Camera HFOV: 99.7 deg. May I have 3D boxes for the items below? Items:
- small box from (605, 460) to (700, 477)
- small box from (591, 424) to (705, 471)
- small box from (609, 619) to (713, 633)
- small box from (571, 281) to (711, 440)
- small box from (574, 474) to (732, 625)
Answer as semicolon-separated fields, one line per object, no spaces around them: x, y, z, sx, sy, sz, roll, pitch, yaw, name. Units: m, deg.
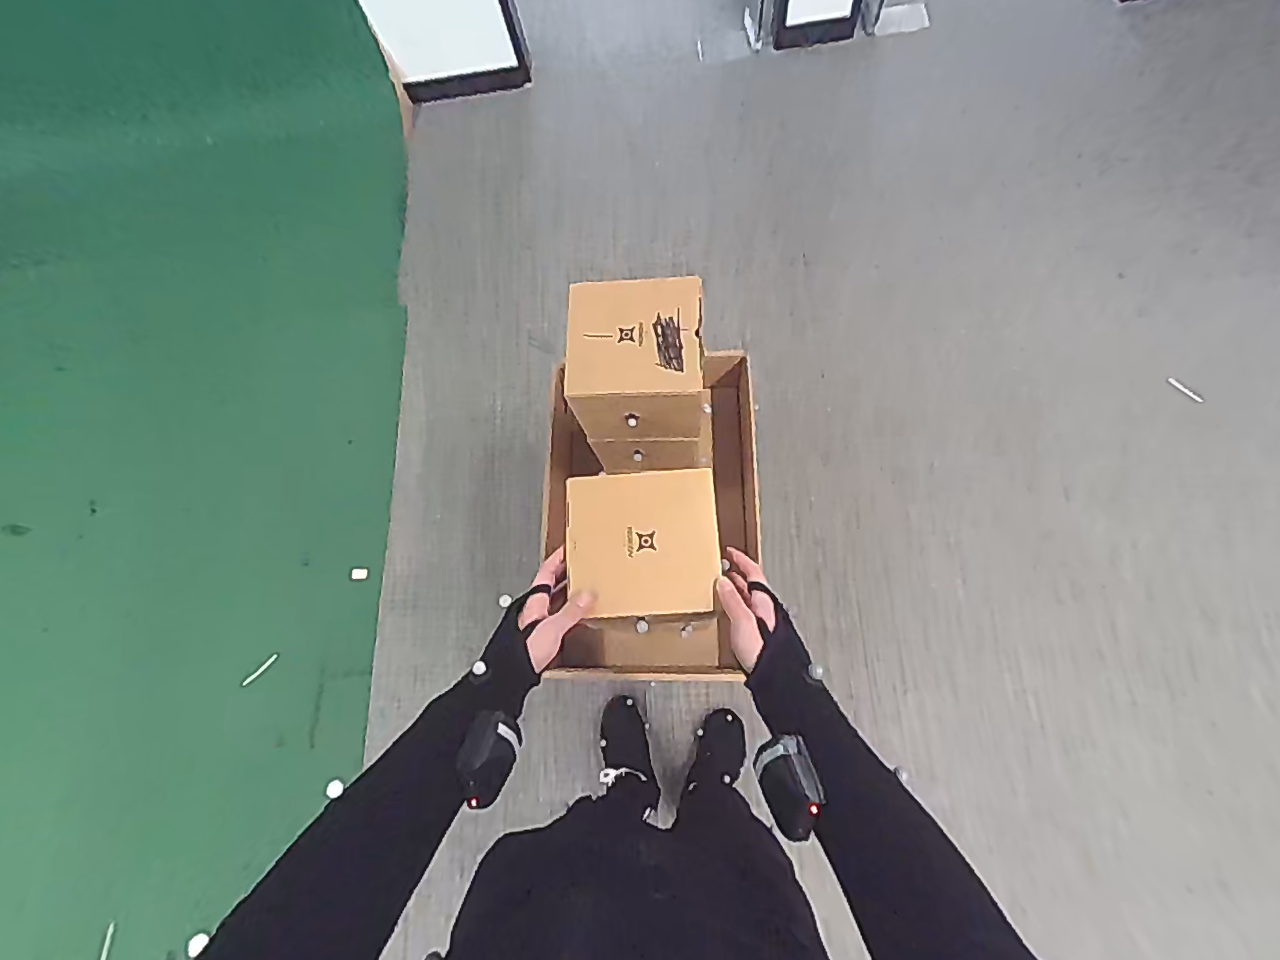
0.034;-0.067;1.082;0.179;0.176;0.168;2;74;5;small box
0.022;-0.116;0.926;0.179;0.176;0.168;1;75;6;small box
0.040;0.193;1.000;0.179;0.176;0.168;-2;72;5;small box
0.008;-0.161;0.768;0.179;0.176;0.168;0;74;6;small box
0.016;0.096;0.690;0.179;0.176;0.168;-3;73;3;small box
